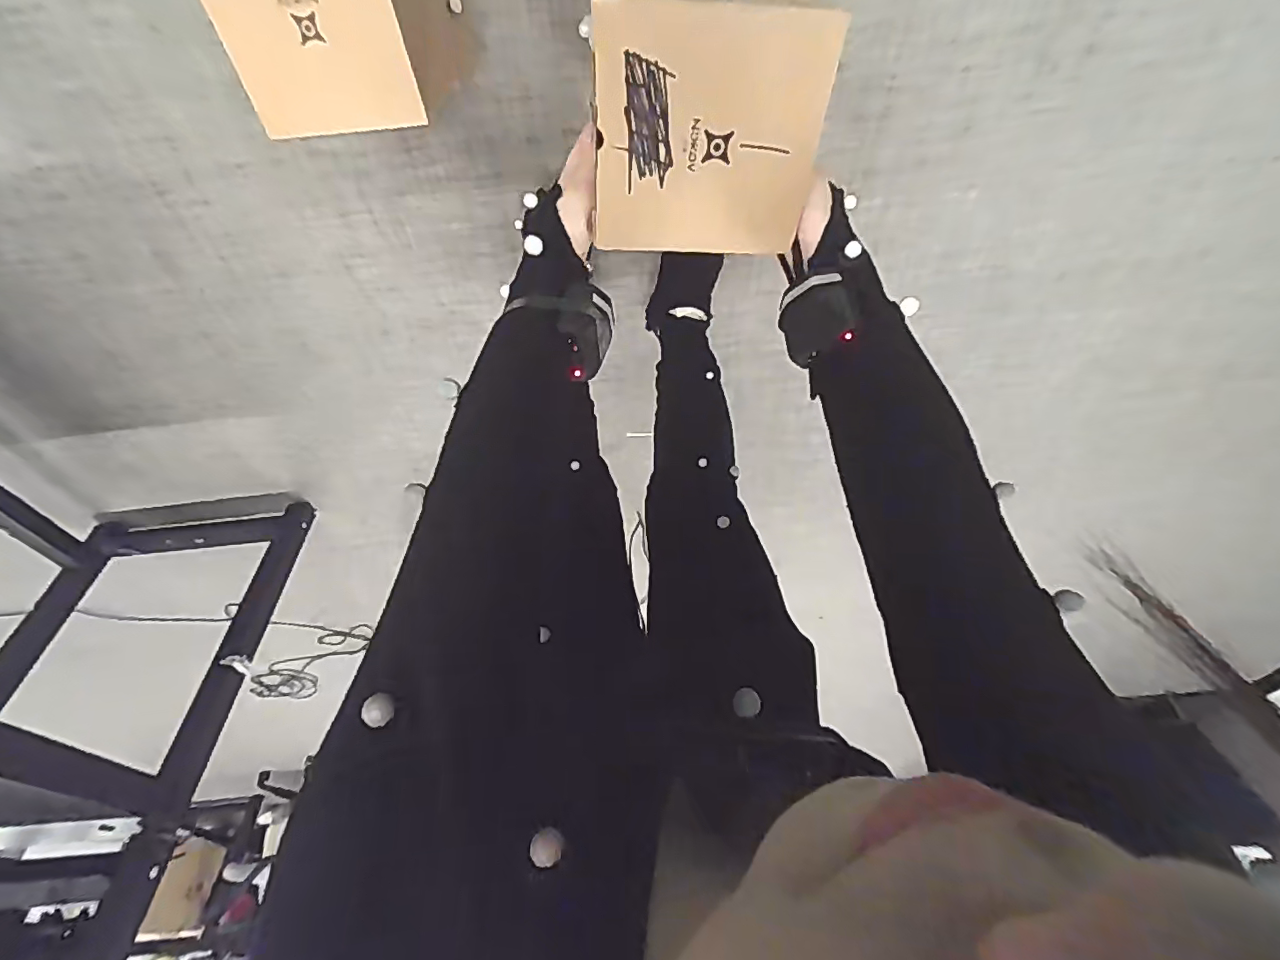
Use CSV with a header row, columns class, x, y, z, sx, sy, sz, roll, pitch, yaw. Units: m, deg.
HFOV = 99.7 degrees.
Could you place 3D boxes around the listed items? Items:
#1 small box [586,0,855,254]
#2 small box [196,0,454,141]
class,x,y,z,sx,sy,sz,roll,pitch,yaw
small box,0.047,-0.310,0.458,0.179,0.176,0.168,0,136,-4
small box,-0.300,-0.463,0.531,0.168,0.176,0.179,-6,136,2
